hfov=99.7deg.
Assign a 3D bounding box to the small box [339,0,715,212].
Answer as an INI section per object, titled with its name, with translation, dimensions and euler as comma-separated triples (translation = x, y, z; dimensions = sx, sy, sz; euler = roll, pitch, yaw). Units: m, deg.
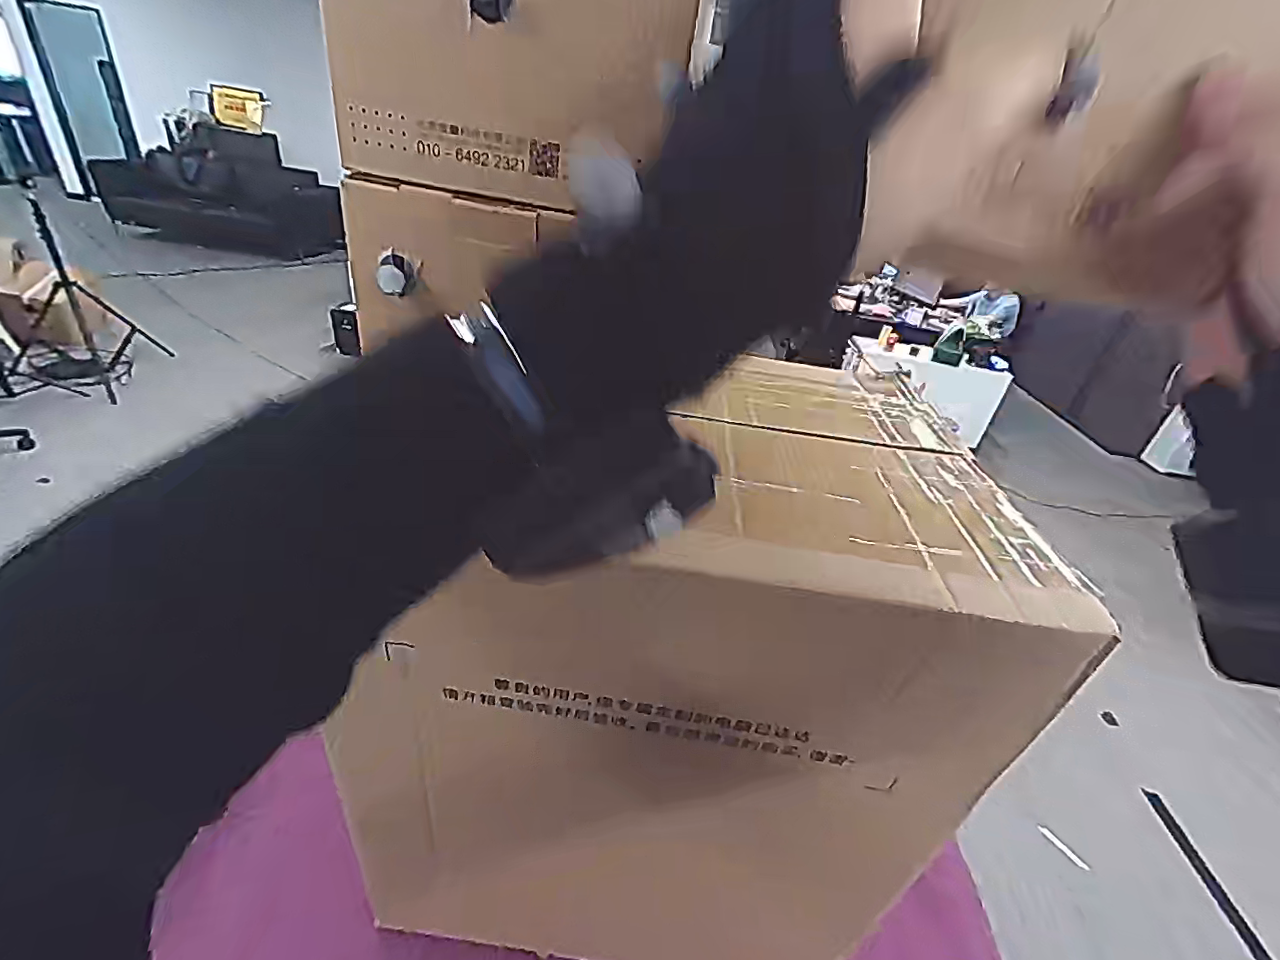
[small box]
translation = -0.046, -0.255, 0.298
dimensions = 0.168, 0.176, 0.179
euler = 12, 31, 0
